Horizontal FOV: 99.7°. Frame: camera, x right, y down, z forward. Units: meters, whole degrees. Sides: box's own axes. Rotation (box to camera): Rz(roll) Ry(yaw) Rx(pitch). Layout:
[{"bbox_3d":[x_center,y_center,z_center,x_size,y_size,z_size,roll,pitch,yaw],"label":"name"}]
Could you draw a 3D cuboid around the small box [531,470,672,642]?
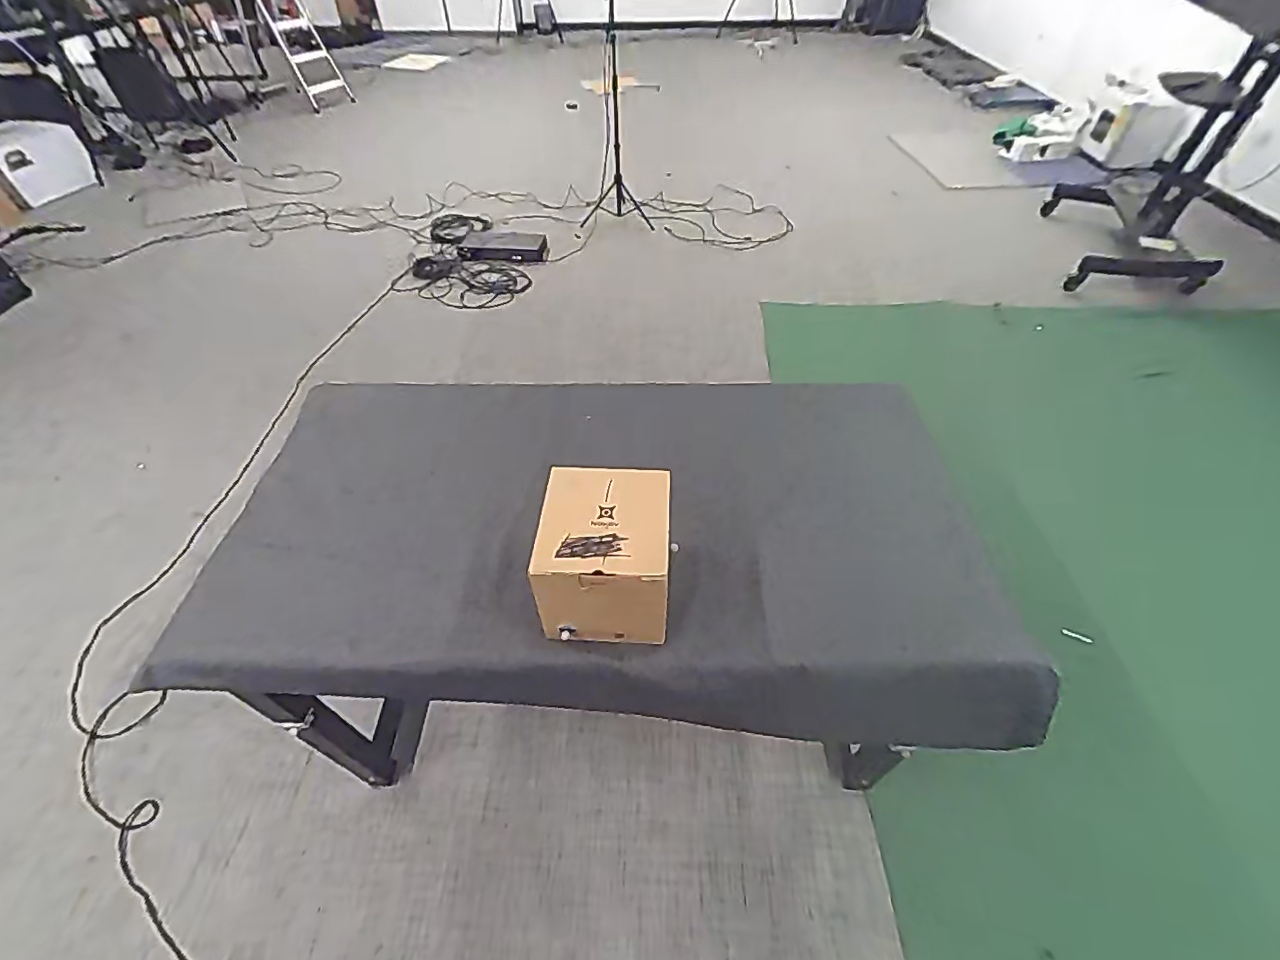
[{"bbox_3d":[-0.043,0.108,0.755,0.168,0.176,0.179,3,46,2],"label":"small box"}]
